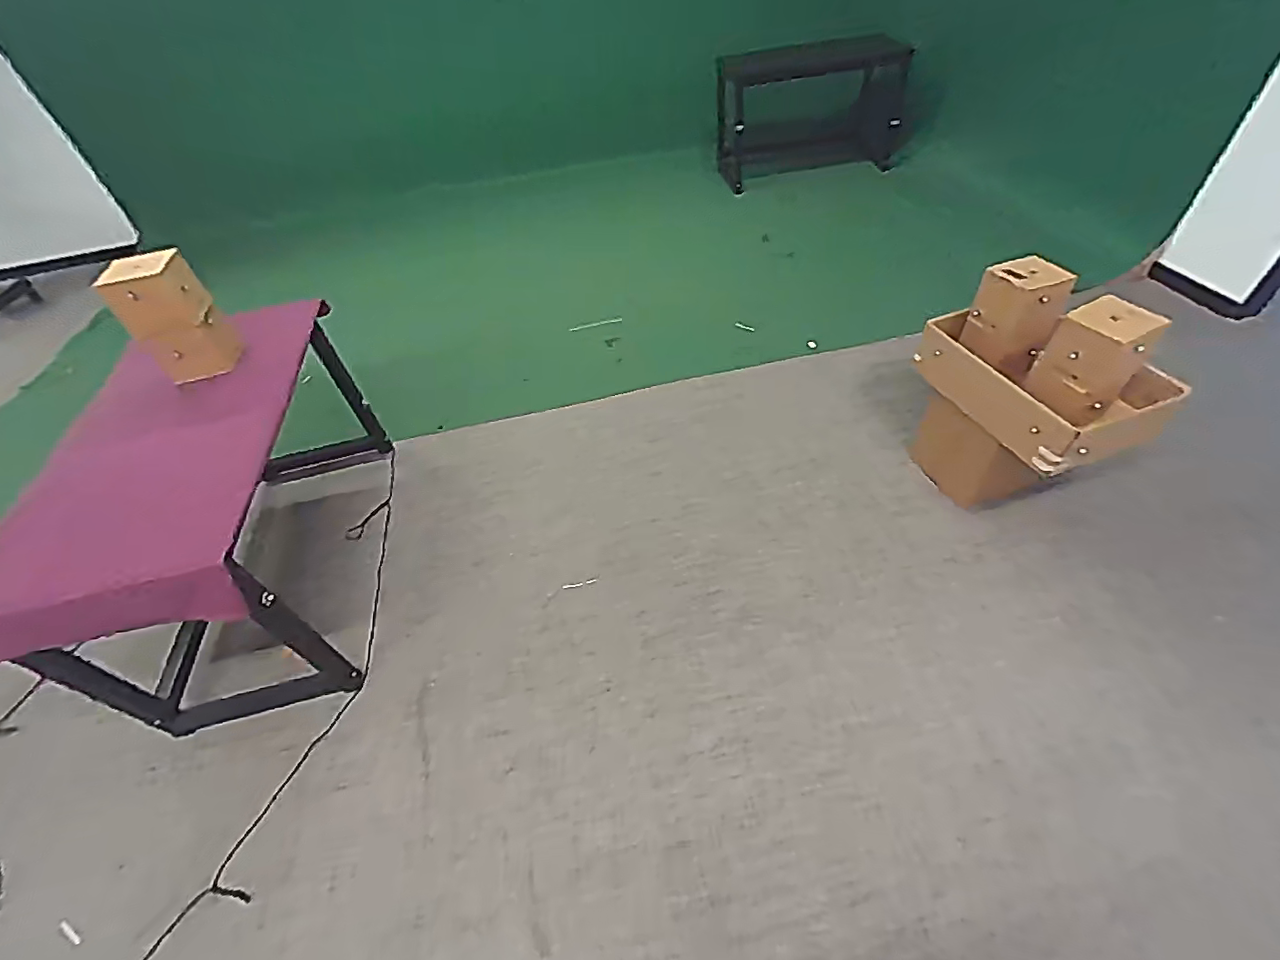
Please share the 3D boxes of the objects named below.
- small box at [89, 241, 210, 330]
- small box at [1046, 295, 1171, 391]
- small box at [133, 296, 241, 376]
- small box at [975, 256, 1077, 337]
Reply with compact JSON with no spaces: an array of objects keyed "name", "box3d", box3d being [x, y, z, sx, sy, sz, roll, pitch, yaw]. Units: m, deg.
[{"name":"small box","box3d":[-1.402,-0.559,1.563,0.179,0.176,0.168,-15,49,-6]},{"name":"small box","box3d":[1.263,-0.371,1.478,0.179,0.176,0.168,-23,50,-12]},{"name":"small box","box3d":[-1.398,-0.447,1.682,0.179,0.176,0.168,-16,49,-7]},{"name":"small box","box3d":[1.173,-0.562,1.665,0.179,0.176,0.168,-15,47,-8]}]
